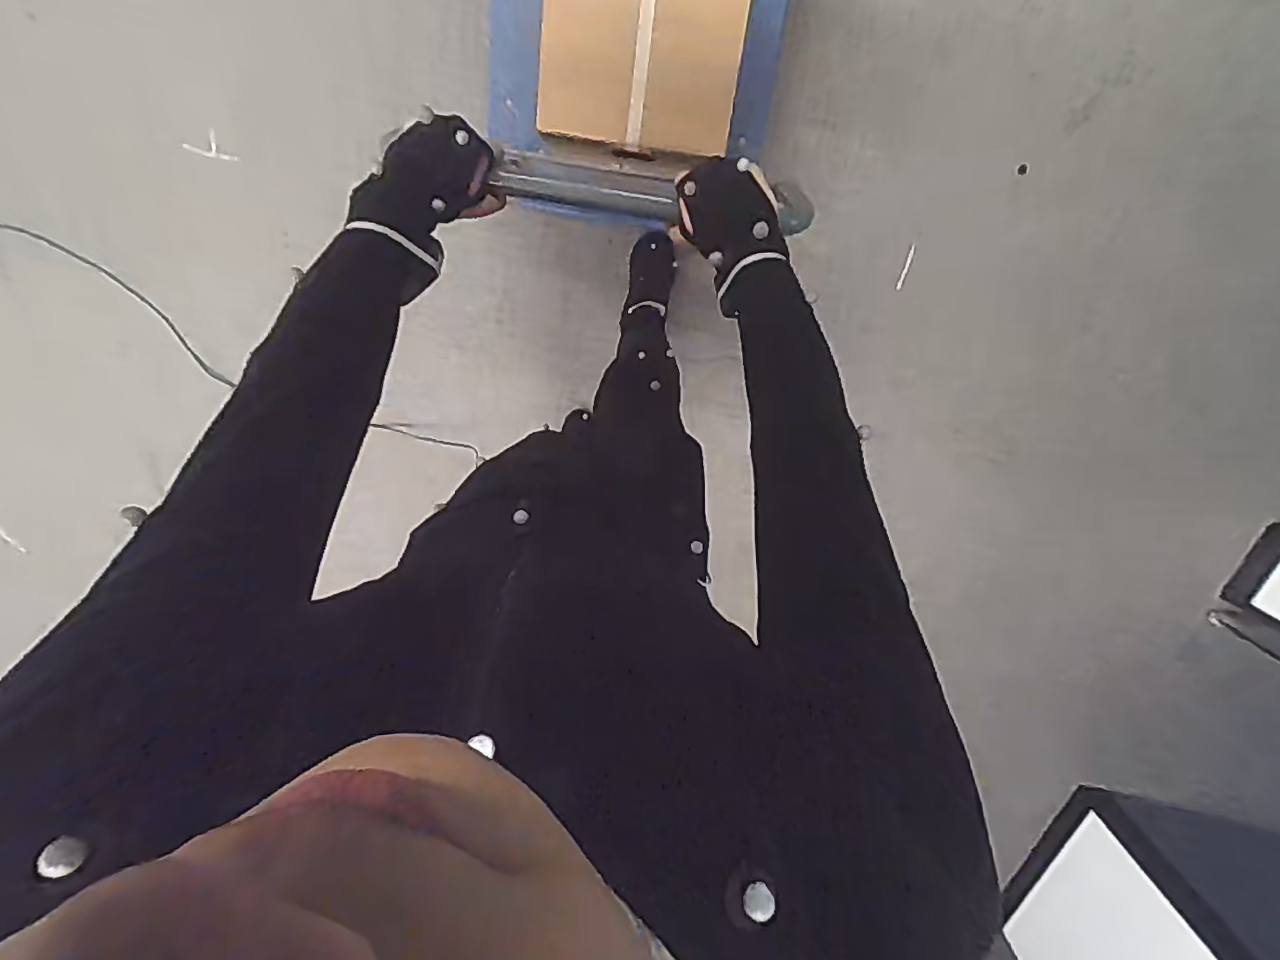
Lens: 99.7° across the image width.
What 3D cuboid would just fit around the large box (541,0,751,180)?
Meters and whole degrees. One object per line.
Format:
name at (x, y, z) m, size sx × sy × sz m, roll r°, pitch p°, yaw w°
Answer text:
large box at (0.015, -0.793, 0.955) m, size 0.320 × 0.320 × 0.408 m, roll 7°, pitch 111°, yaw -4°
